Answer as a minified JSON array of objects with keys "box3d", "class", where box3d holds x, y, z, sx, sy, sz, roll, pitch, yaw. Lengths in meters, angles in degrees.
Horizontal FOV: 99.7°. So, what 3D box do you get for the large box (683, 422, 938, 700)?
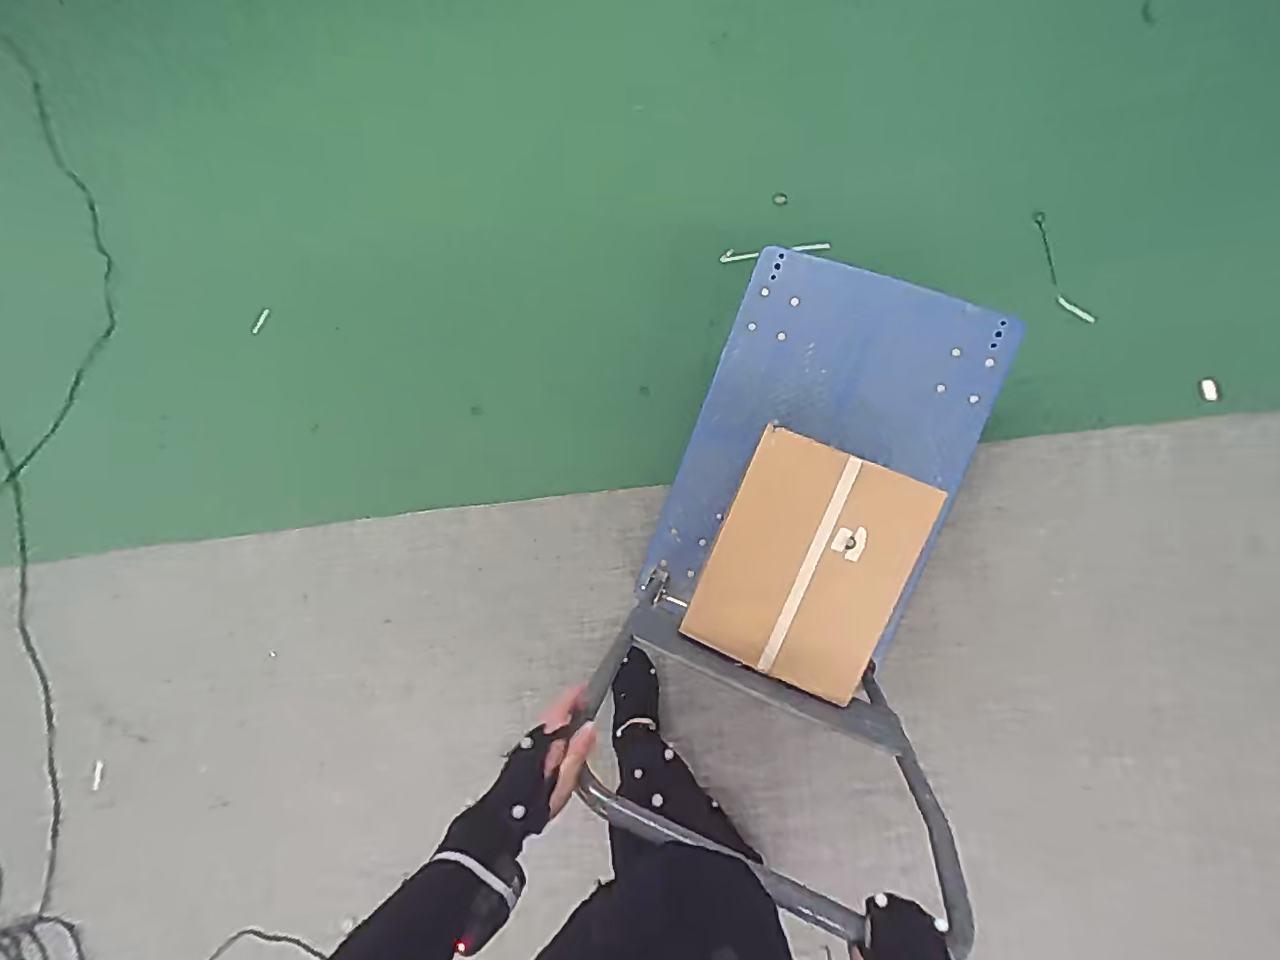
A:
[{"box3d":[0.310,0.136,1.073,0.320,0.320,0.408,23,95,8],"class":"large box"}]
